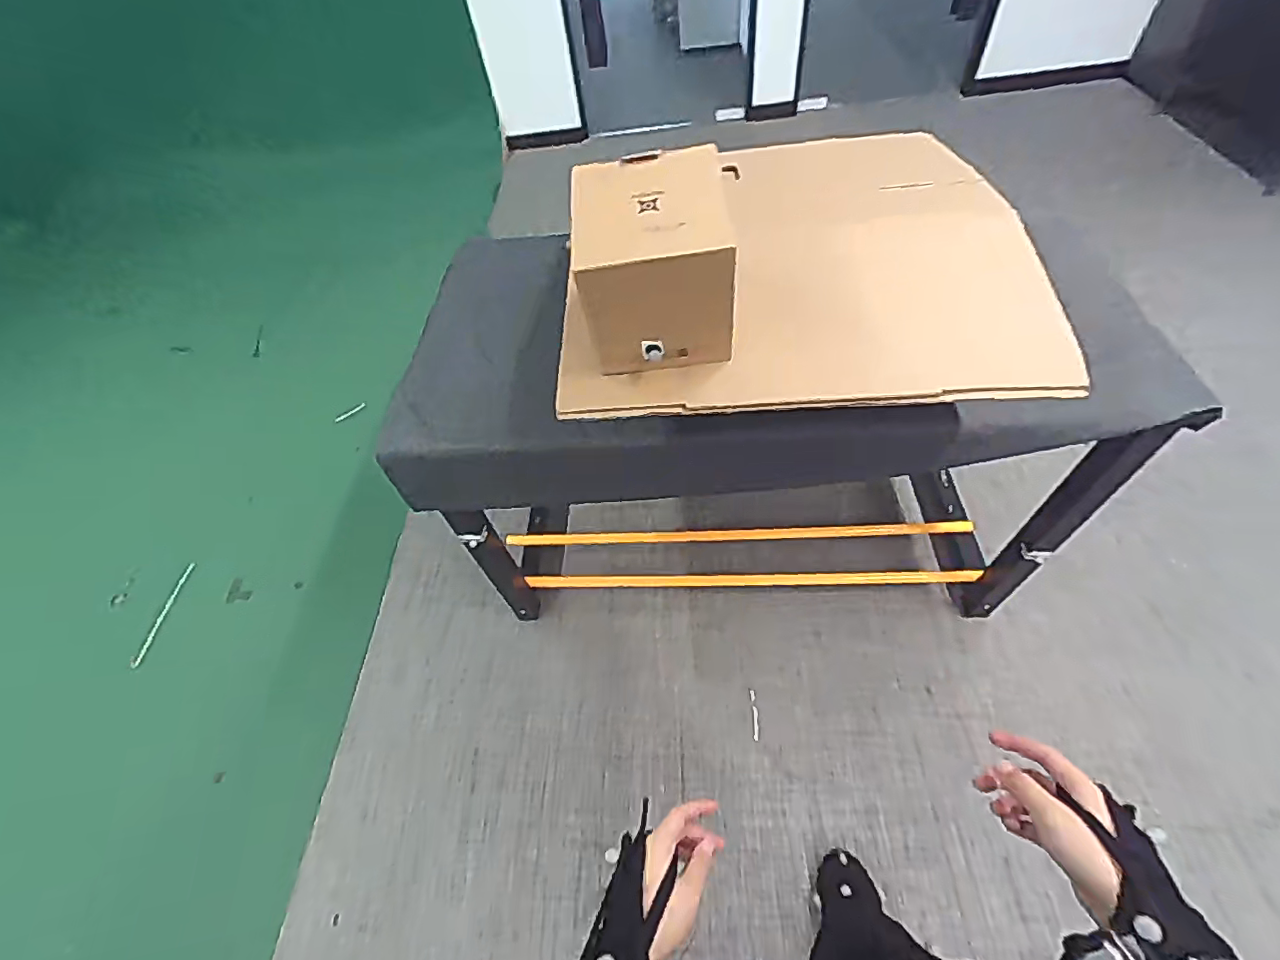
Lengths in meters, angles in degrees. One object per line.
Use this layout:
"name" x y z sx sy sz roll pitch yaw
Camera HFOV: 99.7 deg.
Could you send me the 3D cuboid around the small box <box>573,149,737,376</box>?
"small box" 0.019 -0.251 0.643 0.168 0.176 0.179 -7 62 5
